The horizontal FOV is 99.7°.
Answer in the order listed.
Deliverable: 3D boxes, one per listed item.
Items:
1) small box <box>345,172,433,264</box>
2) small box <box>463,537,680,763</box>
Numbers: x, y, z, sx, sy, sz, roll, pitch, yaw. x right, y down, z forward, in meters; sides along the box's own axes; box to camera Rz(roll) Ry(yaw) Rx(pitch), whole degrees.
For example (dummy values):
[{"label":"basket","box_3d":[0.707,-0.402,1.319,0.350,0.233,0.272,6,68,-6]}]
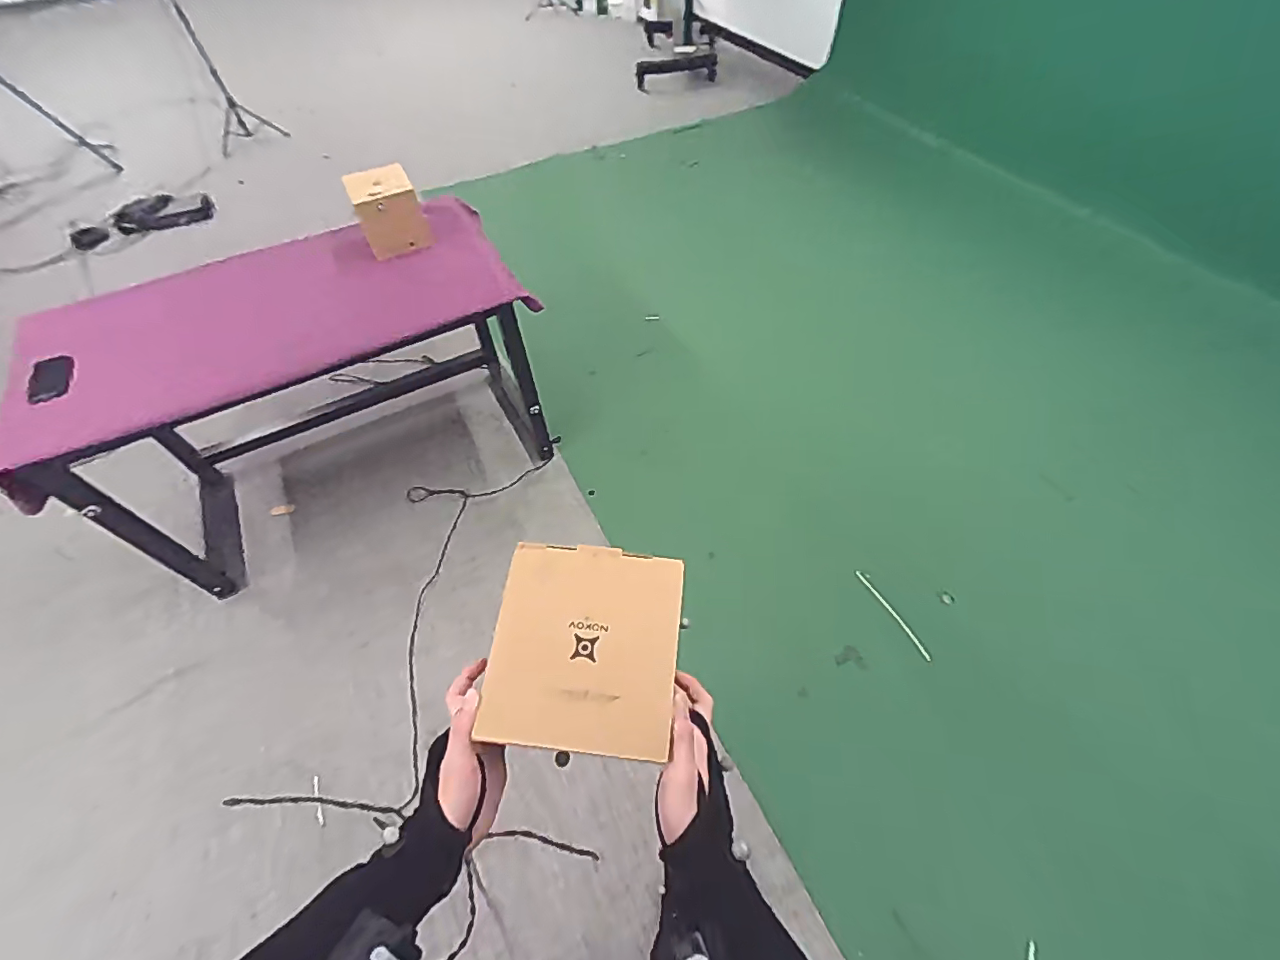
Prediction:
[{"label":"small box","box_3d":[-0.725,-0.759,1.568,0.168,0.176,0.179,-24,56,-14]},{"label":"small box","box_3d":[-0.055,0.176,0.542,0.168,0.176,0.179,6,63,3]}]
